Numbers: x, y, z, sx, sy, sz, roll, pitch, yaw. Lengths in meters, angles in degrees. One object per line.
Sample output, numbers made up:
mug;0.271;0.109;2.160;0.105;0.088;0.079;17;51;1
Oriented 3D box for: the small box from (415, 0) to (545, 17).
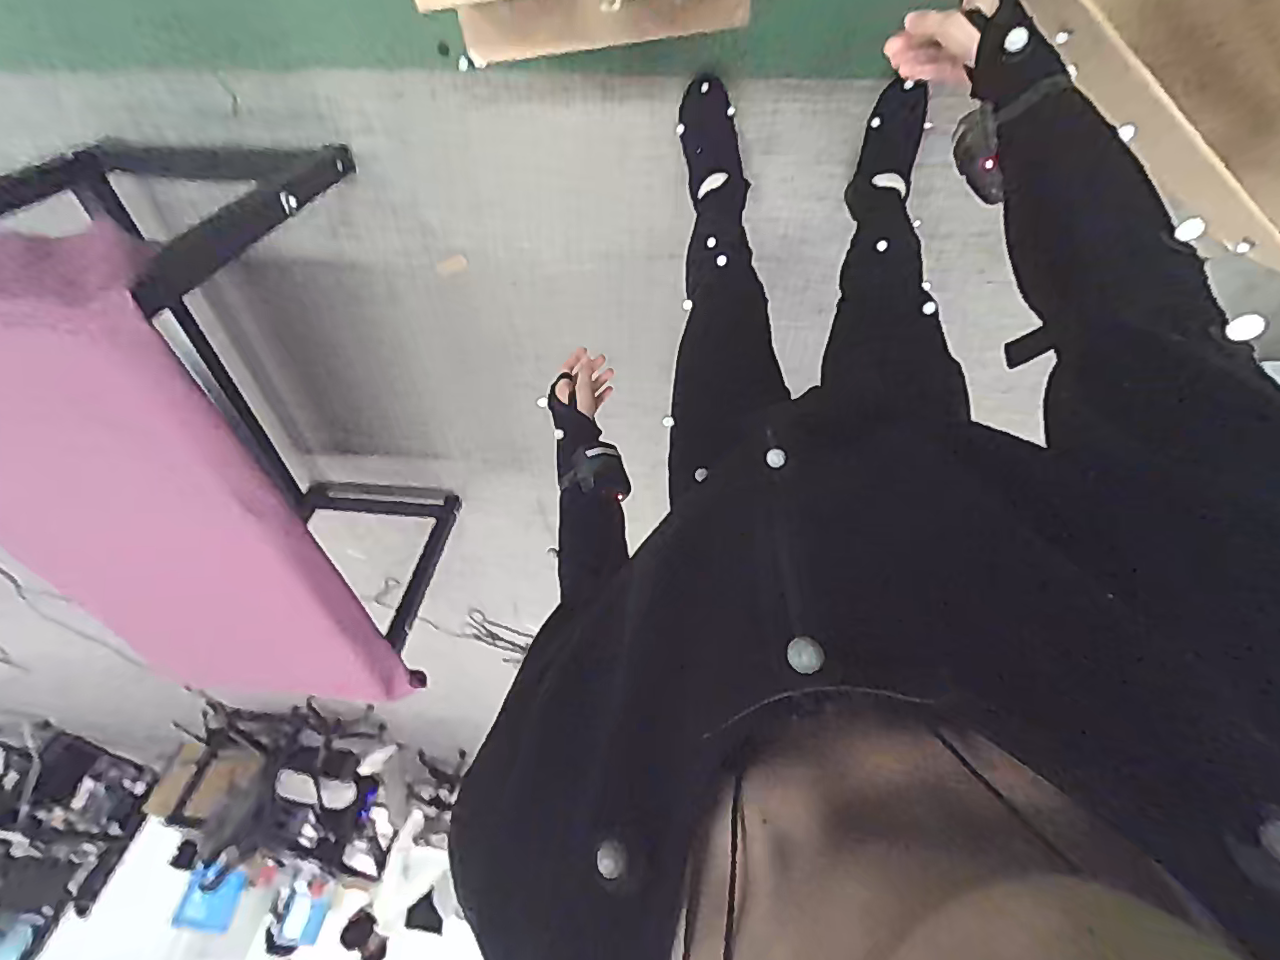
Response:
small box;-0.178;-0.658;0.617;0.168;0.176;0.179;-1;134;9
